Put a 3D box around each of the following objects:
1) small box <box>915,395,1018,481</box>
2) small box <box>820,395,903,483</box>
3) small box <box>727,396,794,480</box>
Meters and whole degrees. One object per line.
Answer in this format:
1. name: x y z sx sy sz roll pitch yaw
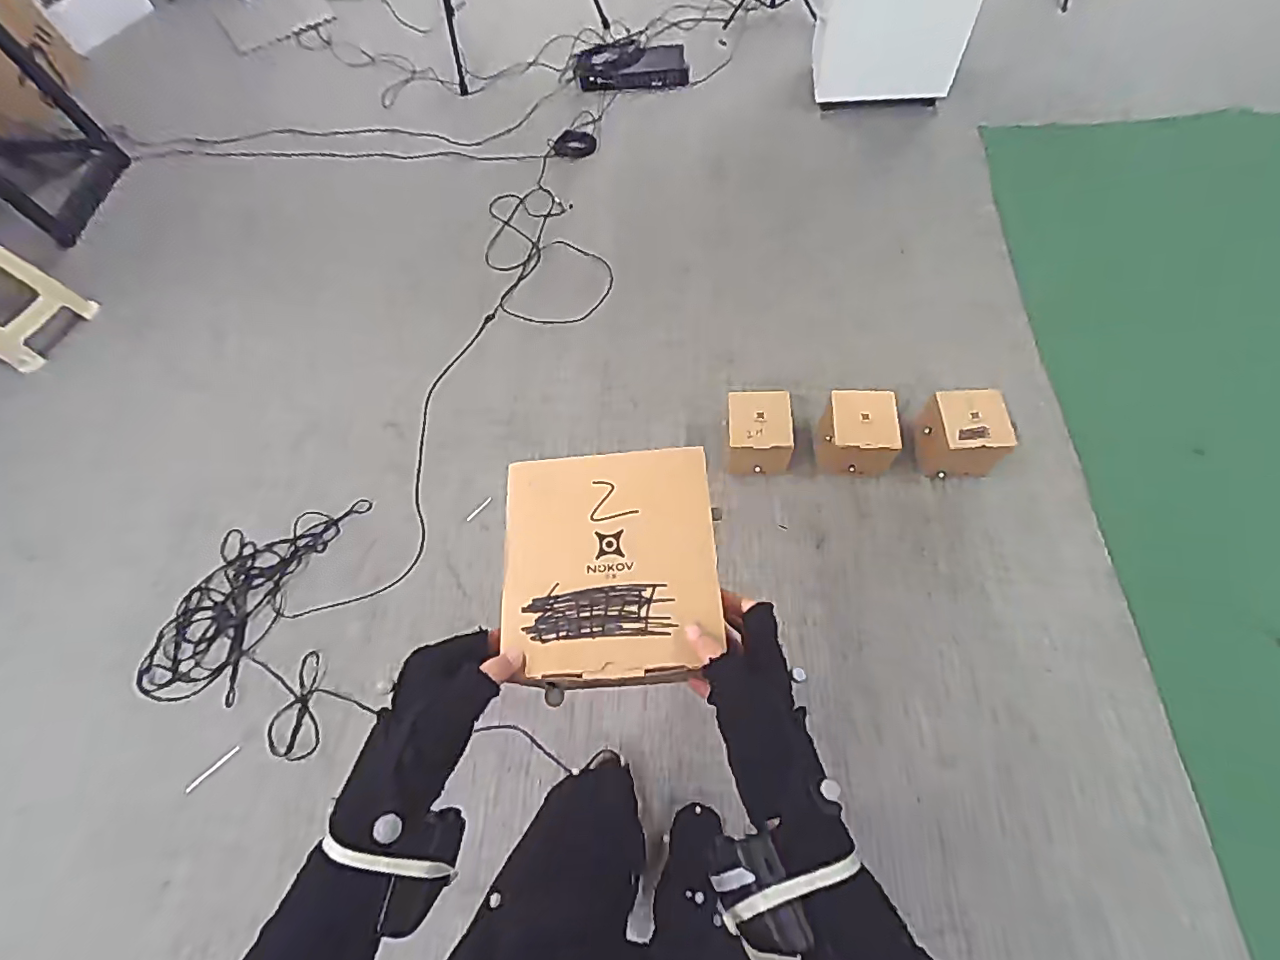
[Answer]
1. small box: 0.863 -0.106 1.446 0.168 0.176 0.179 -1 63 6
2. small box: 0.596 -0.111 1.477 0.168 0.176 0.179 2 64 7
3. small box: 0.329 -0.115 1.505 0.168 0.176 0.179 0 64 7
